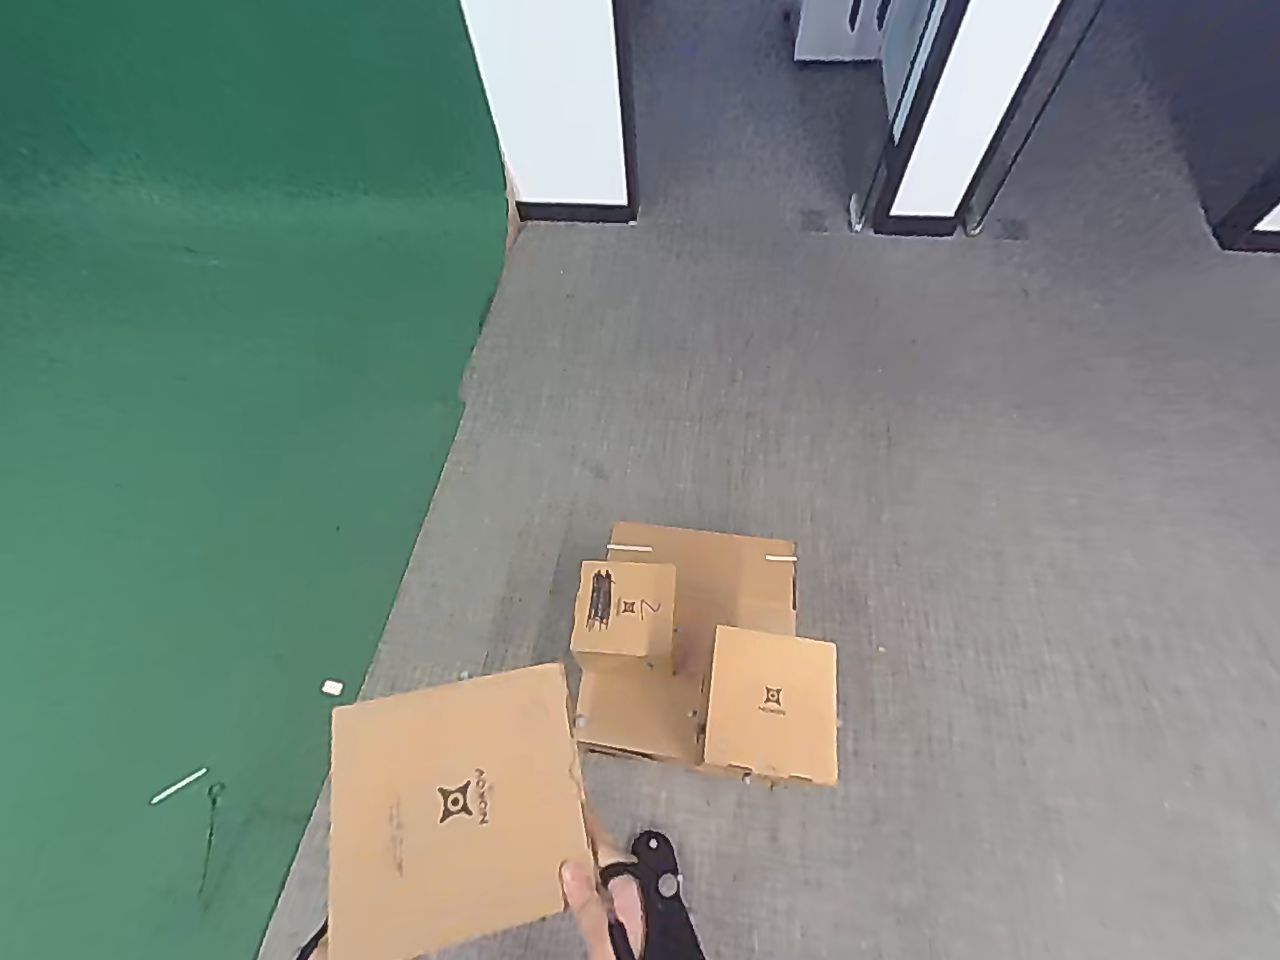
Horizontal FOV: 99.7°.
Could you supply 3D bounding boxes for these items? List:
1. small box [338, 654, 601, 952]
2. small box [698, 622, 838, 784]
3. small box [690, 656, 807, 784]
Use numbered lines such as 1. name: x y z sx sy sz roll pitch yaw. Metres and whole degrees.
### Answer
1. small box: -0.138 0.260 0.471 0.179 0.176 0.168 -7 64 -12
2. small box: 0.177 0.322 0.776 0.168 0.176 0.179 8 62 7
3. small box: 0.185 0.406 0.916 0.179 0.176 0.168 7 61 7
